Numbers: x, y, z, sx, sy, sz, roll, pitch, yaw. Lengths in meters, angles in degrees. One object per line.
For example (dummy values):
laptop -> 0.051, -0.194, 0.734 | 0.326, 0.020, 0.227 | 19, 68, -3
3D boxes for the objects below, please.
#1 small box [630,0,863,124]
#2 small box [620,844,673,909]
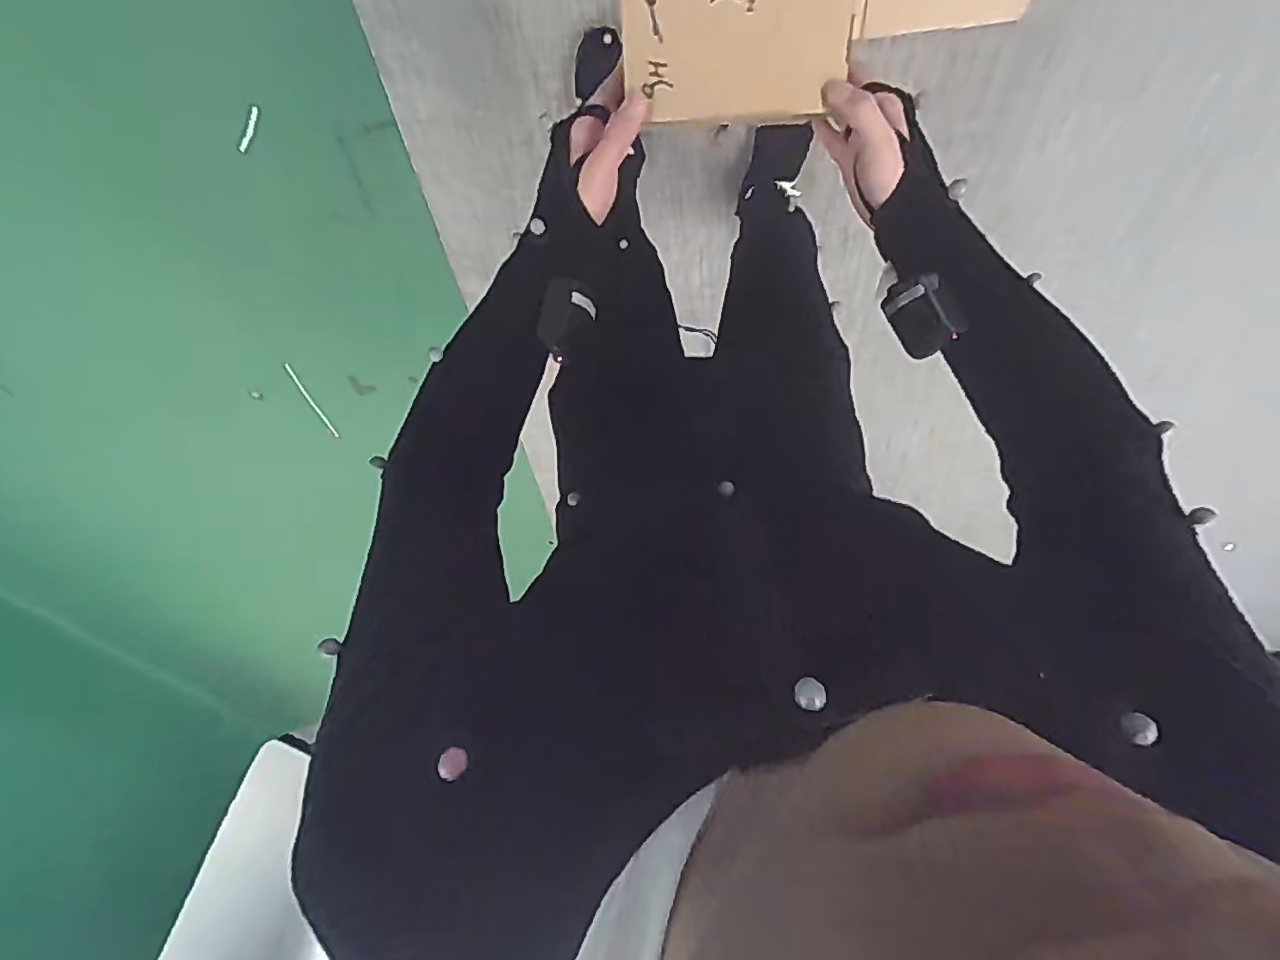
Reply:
small box -> 0.082, -0.410, 0.464 | 0.179, 0.176, 0.168 | 0, 121, 3
small box -> 0.025, 1.363, 1.858 | 0.179, 0.176, 0.168 | 0, 138, 4
